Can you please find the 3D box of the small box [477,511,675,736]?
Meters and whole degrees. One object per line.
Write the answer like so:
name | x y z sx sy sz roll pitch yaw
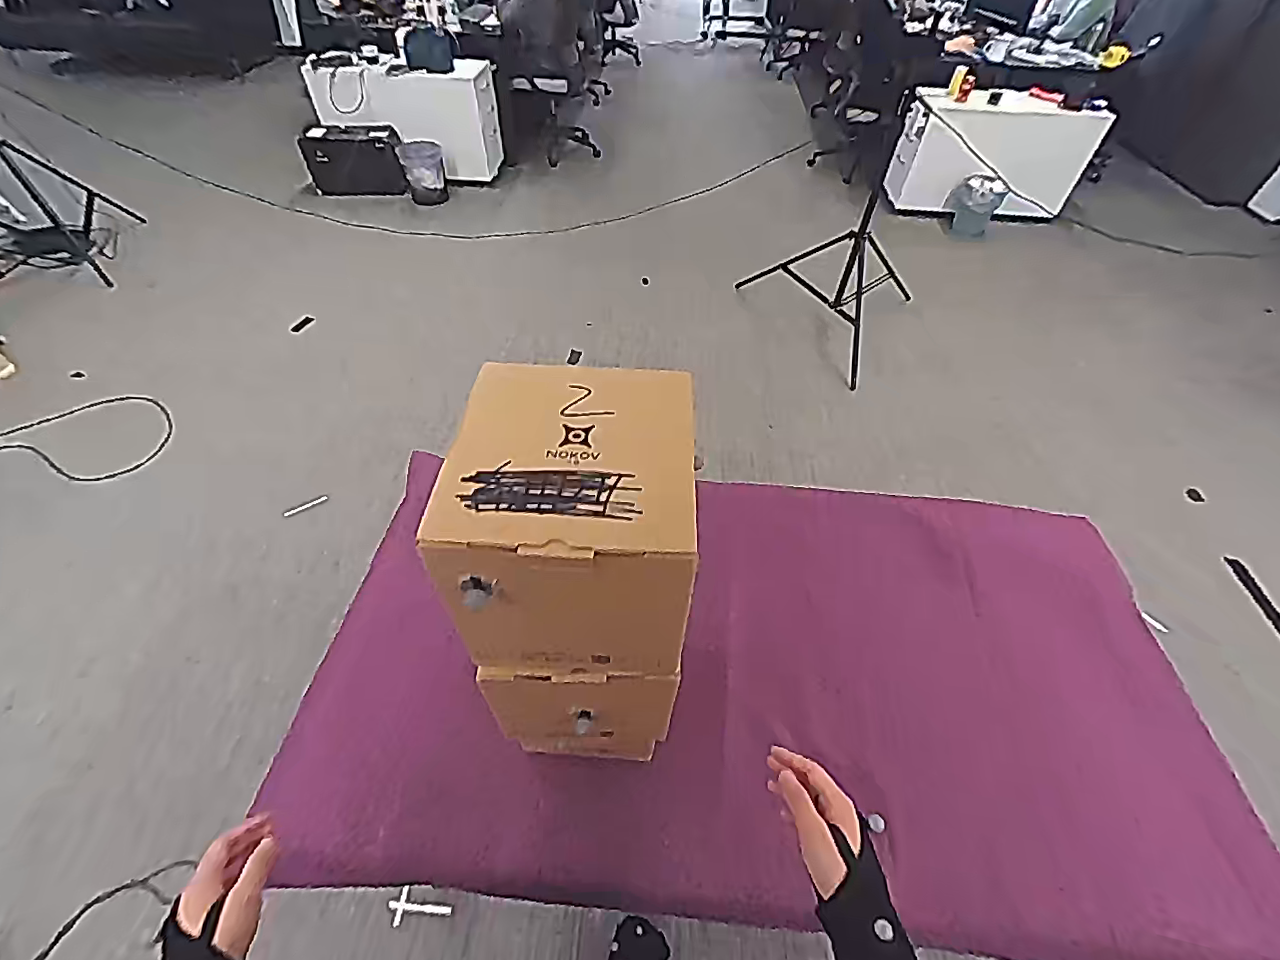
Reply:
small box | -0.053 0.149 0.549 0.168 0.176 0.179 1 50 -2

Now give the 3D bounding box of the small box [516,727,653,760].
small box | -0.060 0.240 0.688 0.168 0.176 0.179 4 49 2
